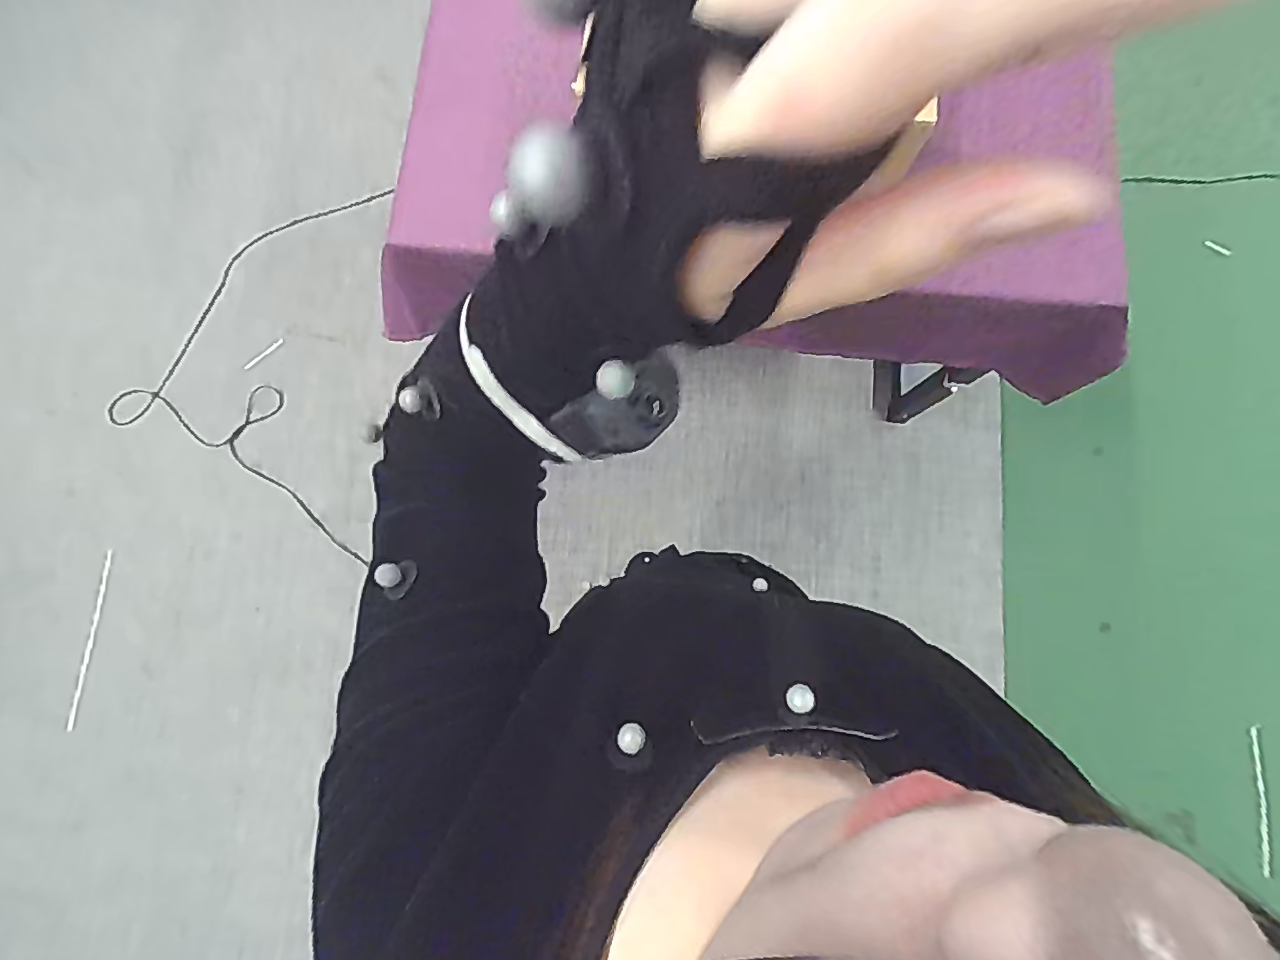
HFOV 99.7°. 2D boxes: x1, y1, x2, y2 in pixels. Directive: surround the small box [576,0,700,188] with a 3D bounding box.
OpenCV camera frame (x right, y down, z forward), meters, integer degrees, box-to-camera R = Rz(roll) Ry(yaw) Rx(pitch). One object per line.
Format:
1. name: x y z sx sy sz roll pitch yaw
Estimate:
1. small box: -0.002 -0.606 0.859 0.168 0.176 0.179 6 81 2
